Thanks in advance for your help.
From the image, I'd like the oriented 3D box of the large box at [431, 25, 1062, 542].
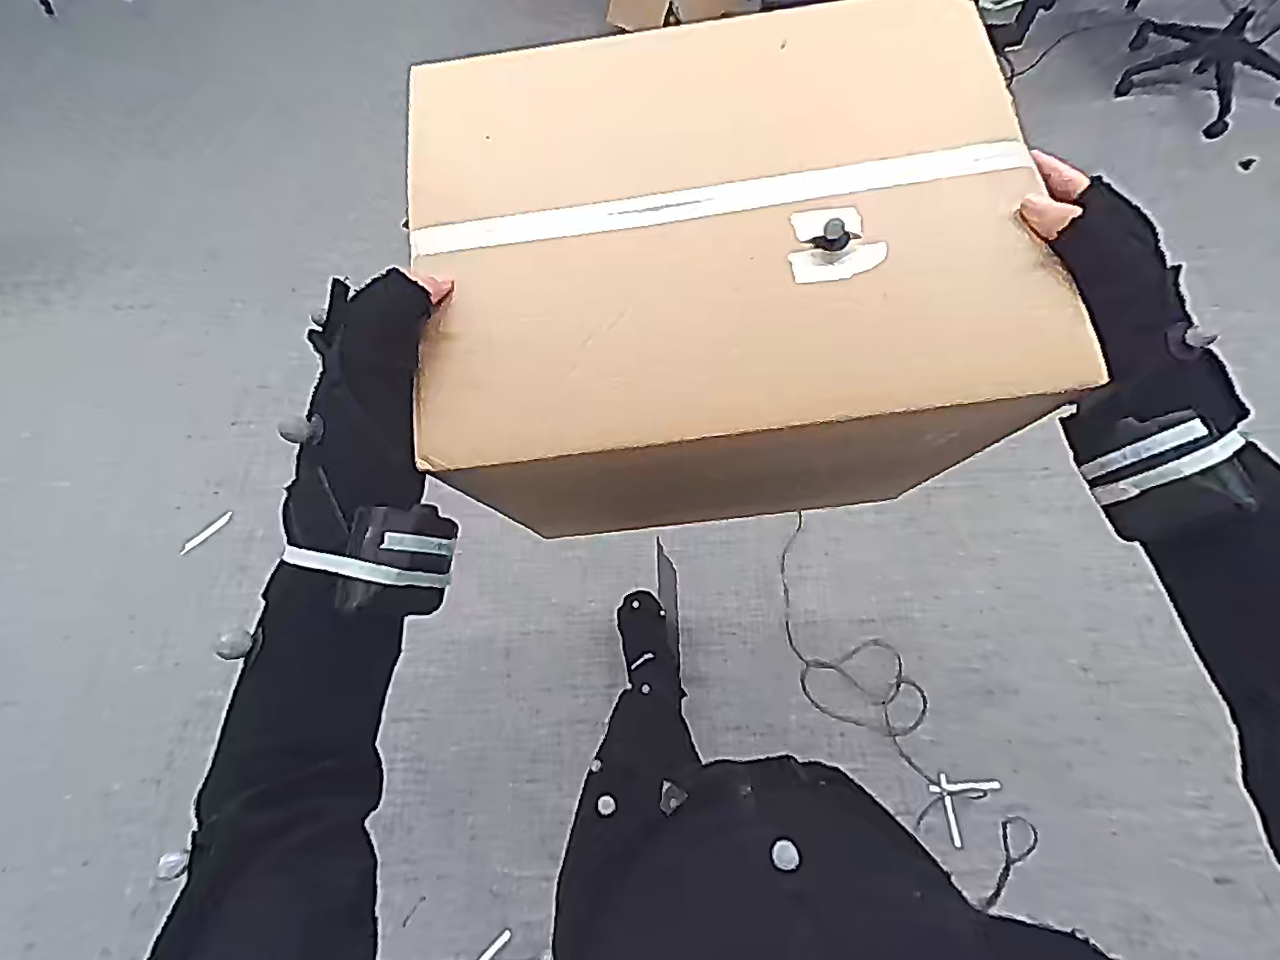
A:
[{"bbox_3d":[0.058,-0.137,0.523,0.408,0.320,0.320,-7,75,2],"label":"large box"}]
